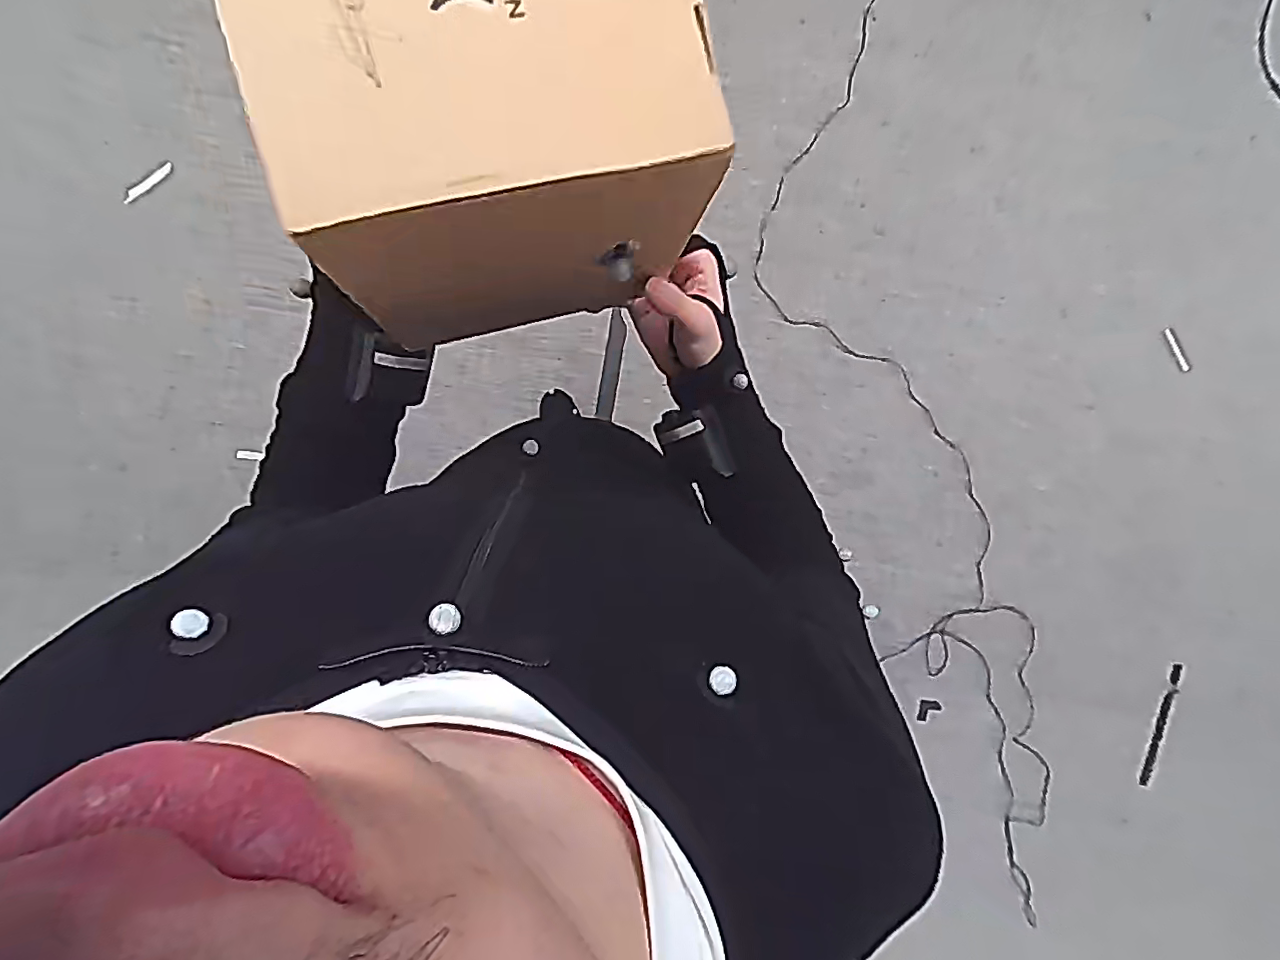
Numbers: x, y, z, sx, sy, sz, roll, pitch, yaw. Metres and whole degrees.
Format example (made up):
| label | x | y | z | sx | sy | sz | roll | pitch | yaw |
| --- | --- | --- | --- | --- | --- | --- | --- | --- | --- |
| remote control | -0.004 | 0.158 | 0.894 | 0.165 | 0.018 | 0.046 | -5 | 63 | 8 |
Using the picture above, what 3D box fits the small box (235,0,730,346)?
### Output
| label | x | y | z | sx | sy | sz | roll | pitch | yaw |
| --- | --- | --- | --- | --- | --- | --- | --- | --- | --- |
| small box | -0.078 | -0.190 | 0.292 | 0.179 | 0.176 | 0.168 | -18 | 91 | -9 |
